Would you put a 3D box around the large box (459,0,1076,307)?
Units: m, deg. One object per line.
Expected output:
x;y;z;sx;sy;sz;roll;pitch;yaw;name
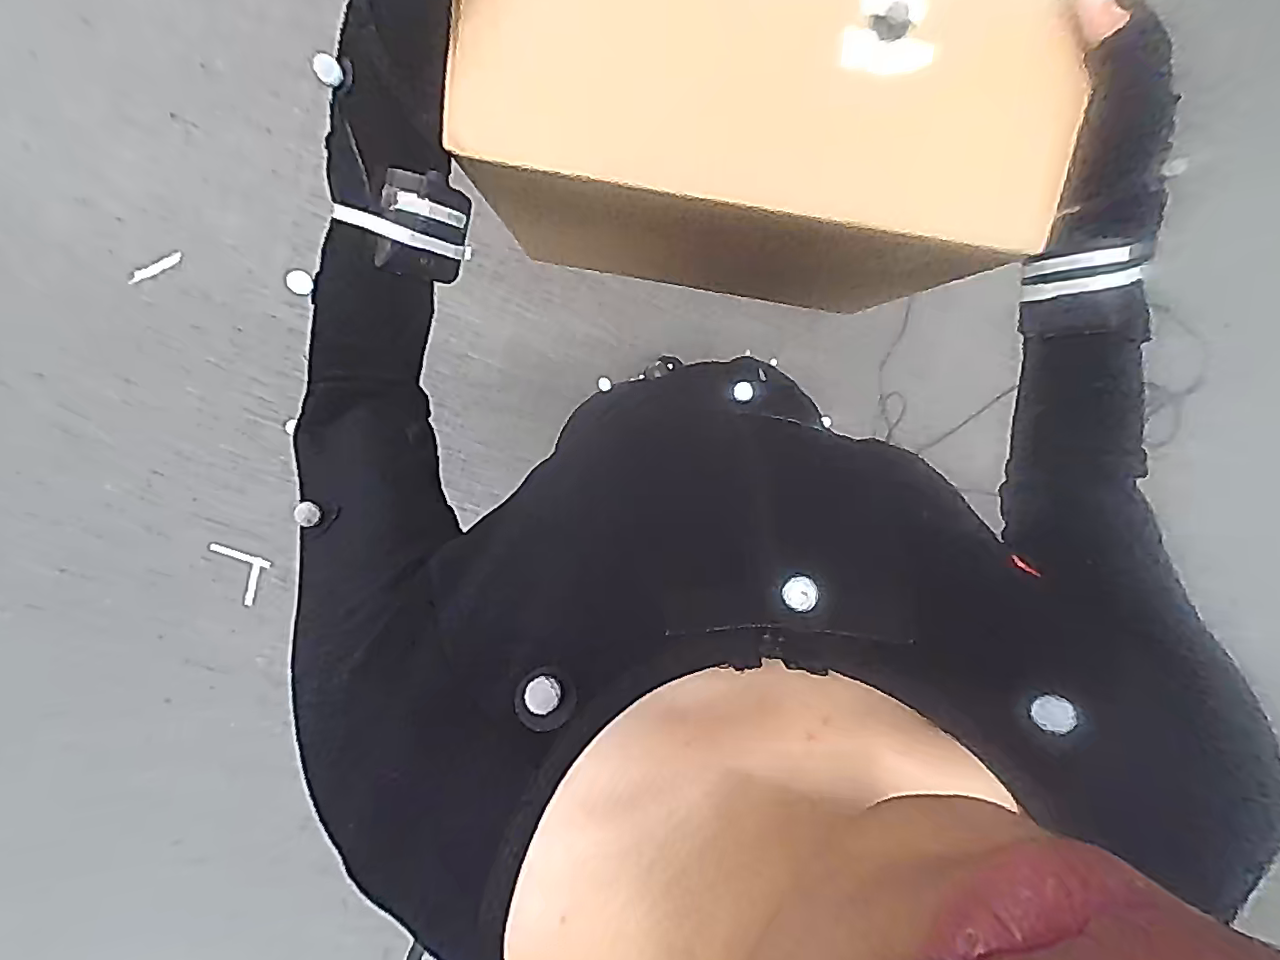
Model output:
0.086;-0.364;0.496;0.408;0.320;0.320;8;100;-4;large box
